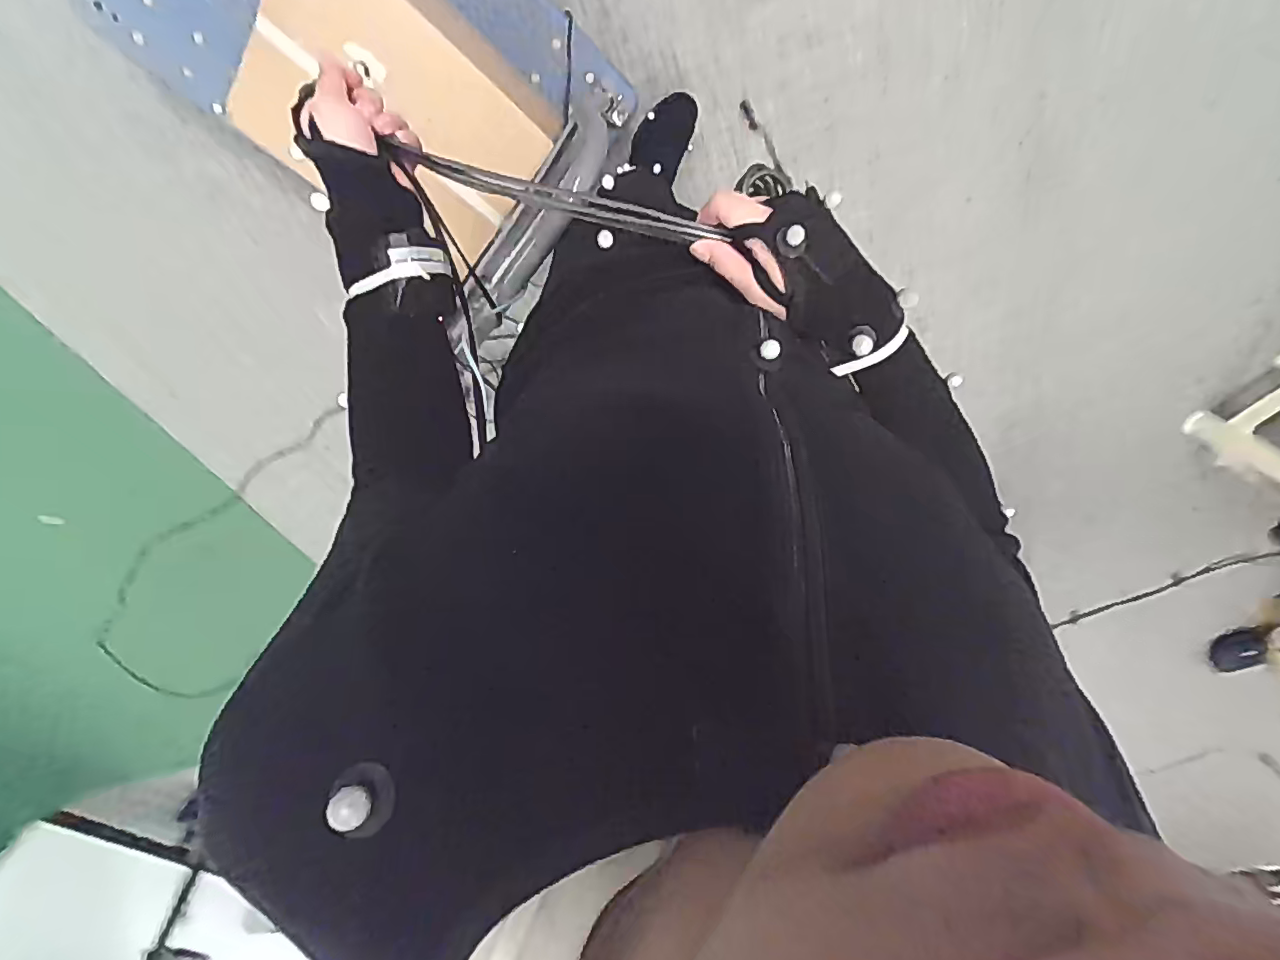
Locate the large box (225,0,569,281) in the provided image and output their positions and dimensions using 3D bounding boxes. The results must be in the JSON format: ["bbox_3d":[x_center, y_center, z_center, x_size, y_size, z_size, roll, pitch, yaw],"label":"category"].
[{"bbox_3d":[-0.380,-0.639,0.943,0.408,0.320,0.320,34,120,-27],"label":"large box"}]
